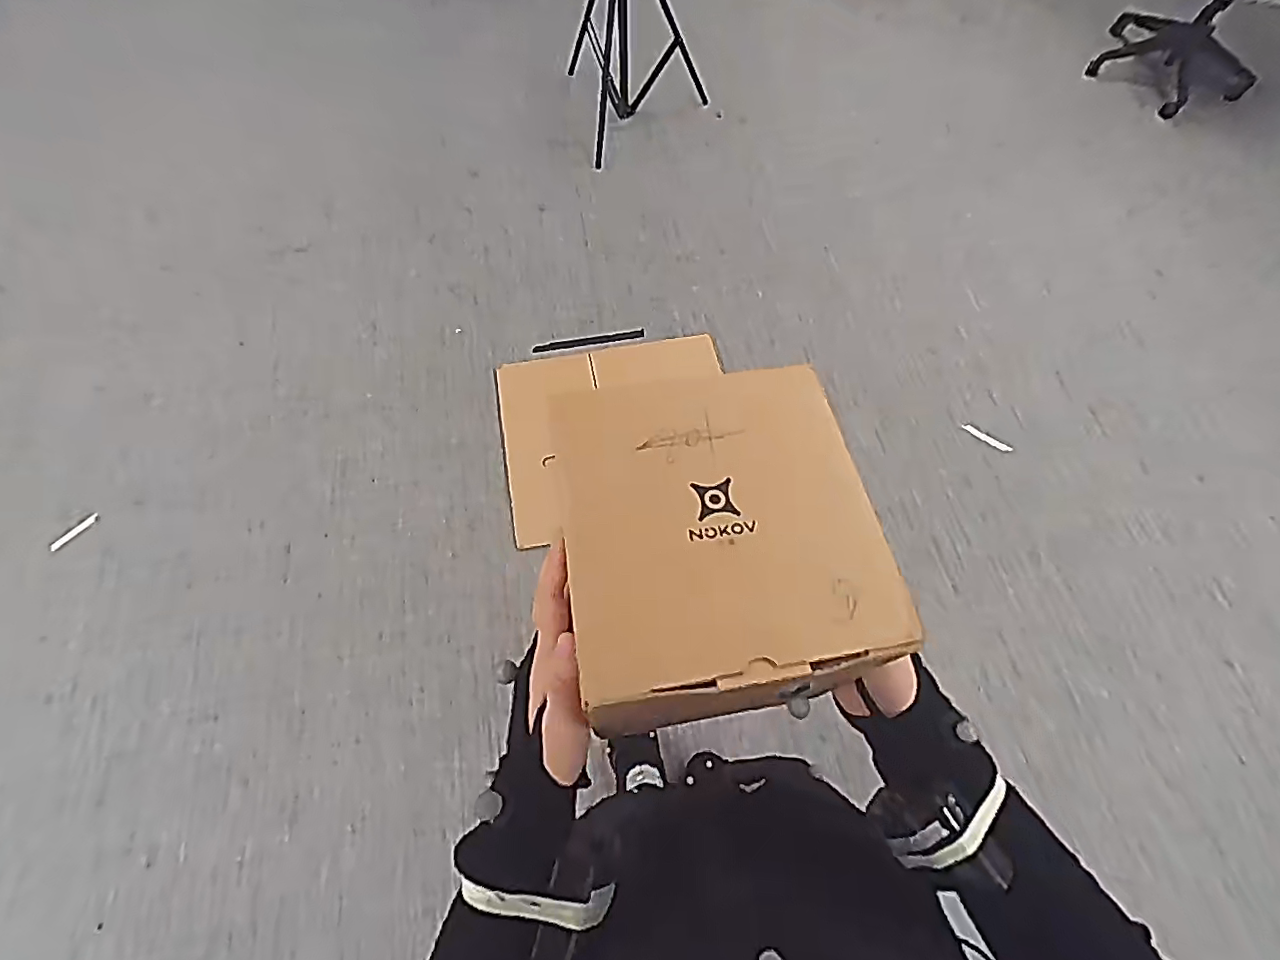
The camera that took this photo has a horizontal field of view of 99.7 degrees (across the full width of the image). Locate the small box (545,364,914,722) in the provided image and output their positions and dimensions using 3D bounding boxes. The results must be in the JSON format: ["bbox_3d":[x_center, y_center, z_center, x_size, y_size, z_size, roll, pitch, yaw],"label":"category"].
[{"bbox_3d":[0.035,0.052,0.357,0.168,0.176,0.179,-8,60,-8],"label":"small box"}]
